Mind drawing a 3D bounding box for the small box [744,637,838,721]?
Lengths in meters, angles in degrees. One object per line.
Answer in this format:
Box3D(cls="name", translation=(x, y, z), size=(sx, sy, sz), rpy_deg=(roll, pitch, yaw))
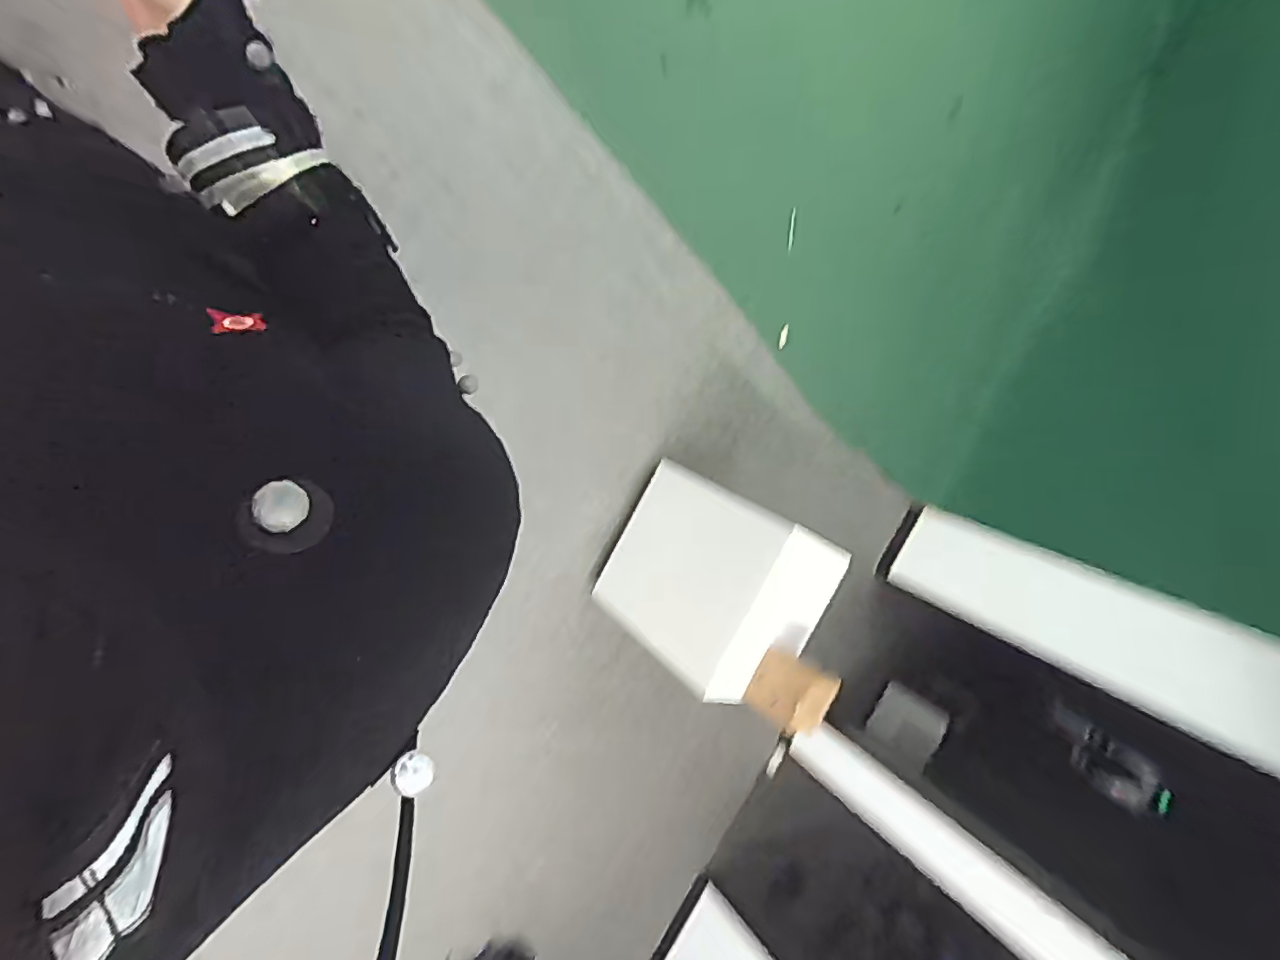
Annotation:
Box3D(cls="small box", translation=(0.435, 0.576, 1.574), size=(0.179, 0.176, 0.168), rpy_deg=(25, 94, -45))
